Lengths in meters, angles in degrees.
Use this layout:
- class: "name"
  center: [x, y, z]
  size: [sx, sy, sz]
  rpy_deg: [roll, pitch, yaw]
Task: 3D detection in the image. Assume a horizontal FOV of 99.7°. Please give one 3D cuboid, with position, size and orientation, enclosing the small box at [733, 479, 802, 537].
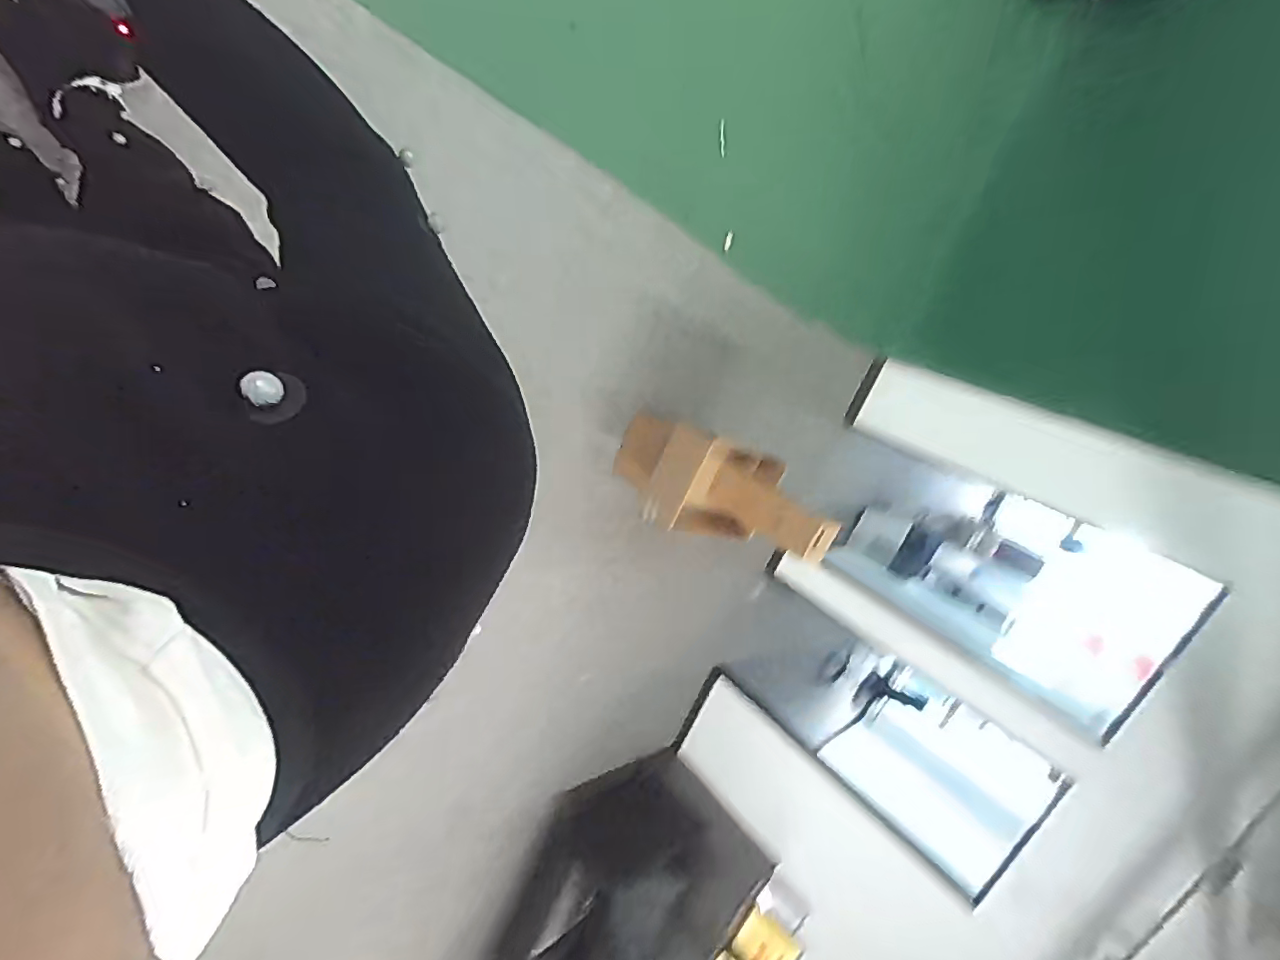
- class: "small box"
  center: [0.506, 0.109, 2.150]
  size: [0.179, 0.176, 0.168]
  rpy_deg: [11, 109, -47]

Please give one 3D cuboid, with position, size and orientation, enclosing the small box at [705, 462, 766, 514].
- class: "small box"
  center: [0.405, 0.037, 2.255]
  size: [0.179, 0.176, 0.168]
  rpy_deg: [12, 108, -48]
